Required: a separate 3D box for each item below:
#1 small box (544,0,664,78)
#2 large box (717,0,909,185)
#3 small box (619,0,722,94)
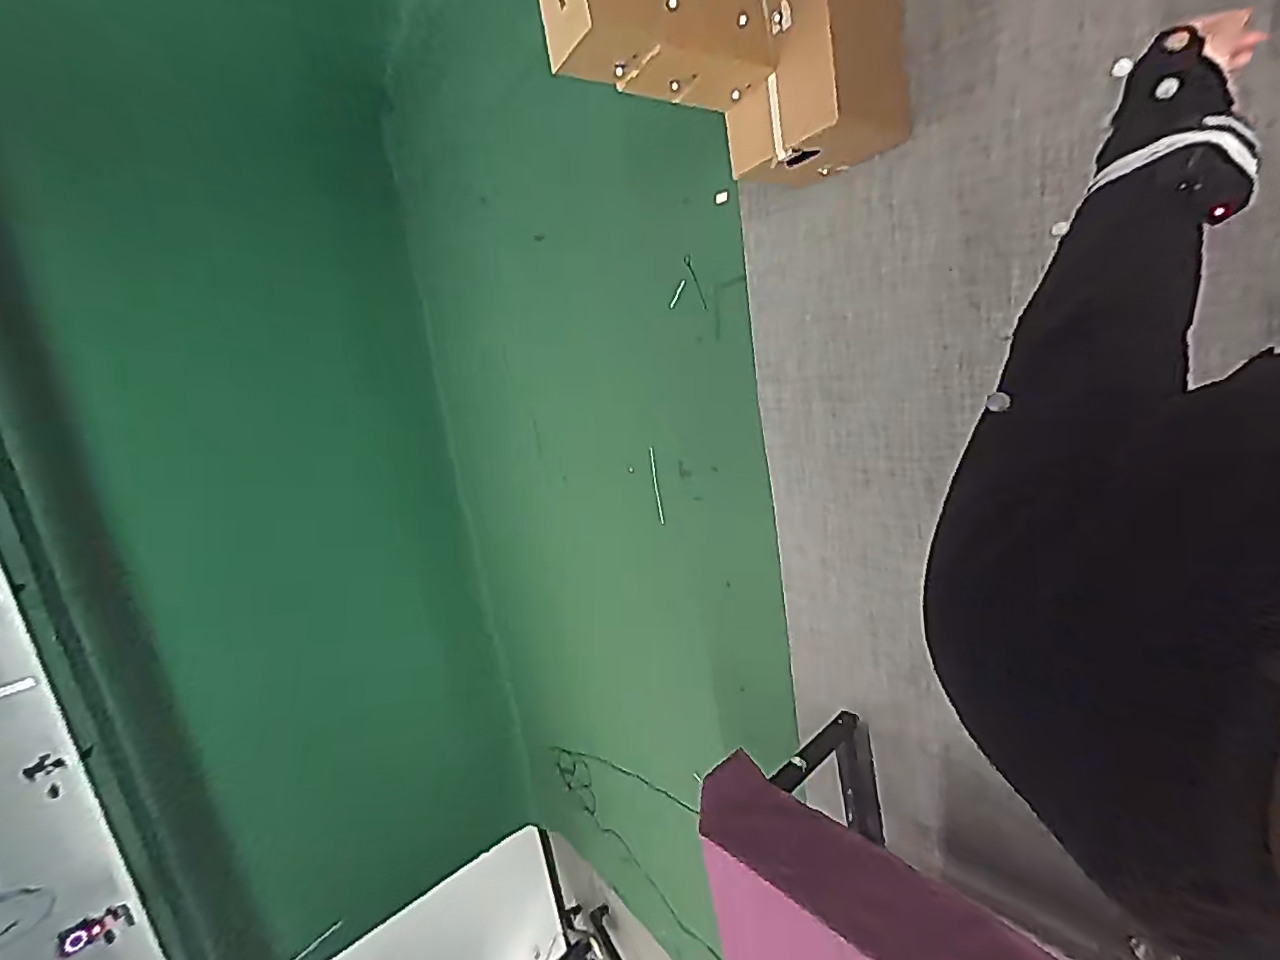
[{"bbox_3d":[-0.074,-0.942,1.073,0.168,0.176,0.179,8,112,55],"label":"small box"},{"bbox_3d":[0.432,-1.015,1.347,0.320,0.320,0.408,4,106,53],"label":"large box"},{"bbox_3d":[0.055,-0.975,1.167,0.168,0.176,0.179,5,109,55],"label":"small box"}]
